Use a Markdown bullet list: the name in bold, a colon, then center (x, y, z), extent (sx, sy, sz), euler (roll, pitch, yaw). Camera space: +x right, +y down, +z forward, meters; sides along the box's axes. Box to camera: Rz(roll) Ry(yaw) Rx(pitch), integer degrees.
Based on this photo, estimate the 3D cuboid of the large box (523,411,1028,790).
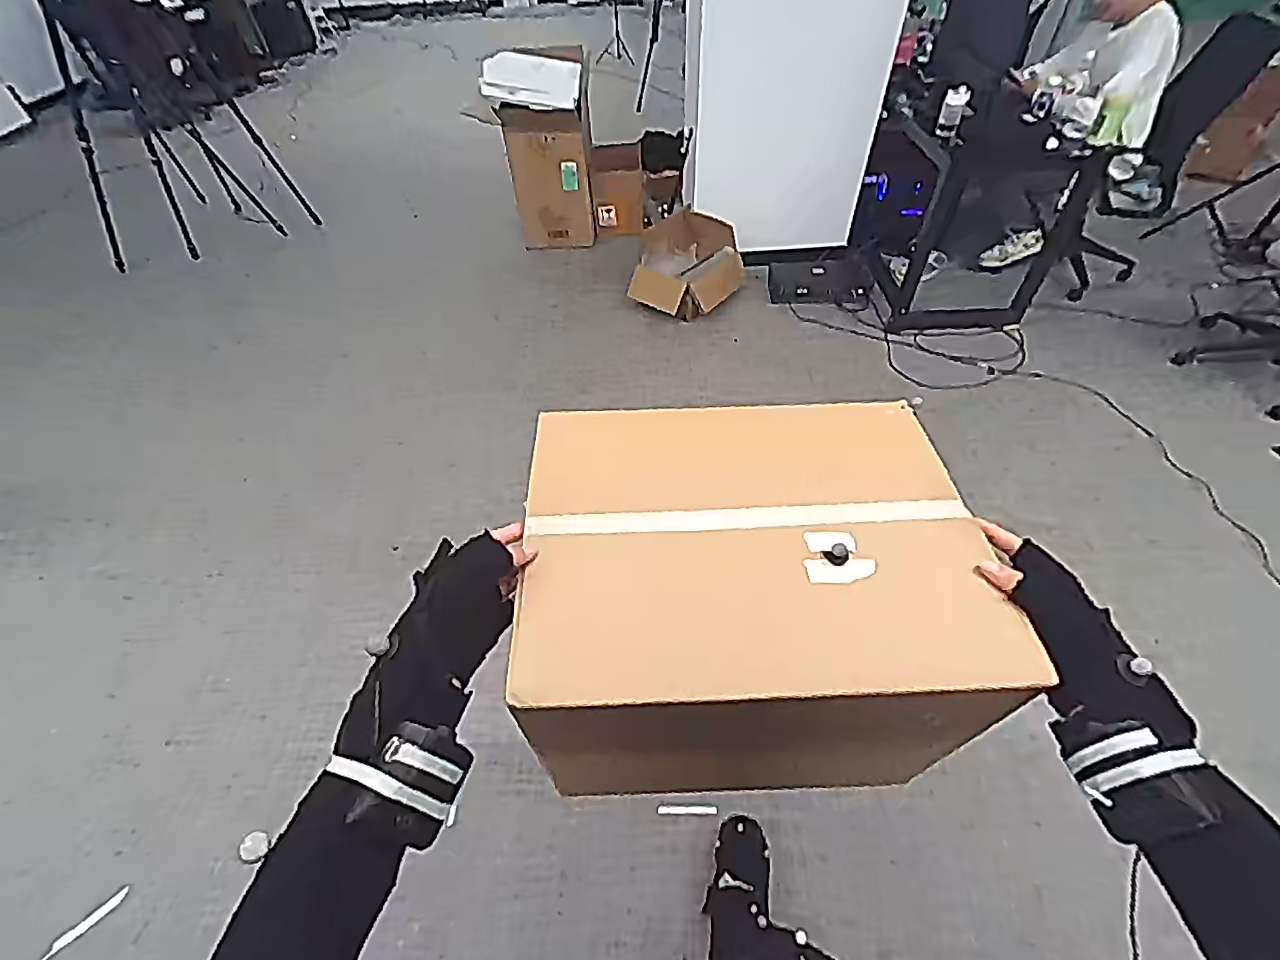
- **large box**: center (0.099, 0.141, 0.622), extent (0.408, 0.320, 0.320), euler (-2, 49, -1)
